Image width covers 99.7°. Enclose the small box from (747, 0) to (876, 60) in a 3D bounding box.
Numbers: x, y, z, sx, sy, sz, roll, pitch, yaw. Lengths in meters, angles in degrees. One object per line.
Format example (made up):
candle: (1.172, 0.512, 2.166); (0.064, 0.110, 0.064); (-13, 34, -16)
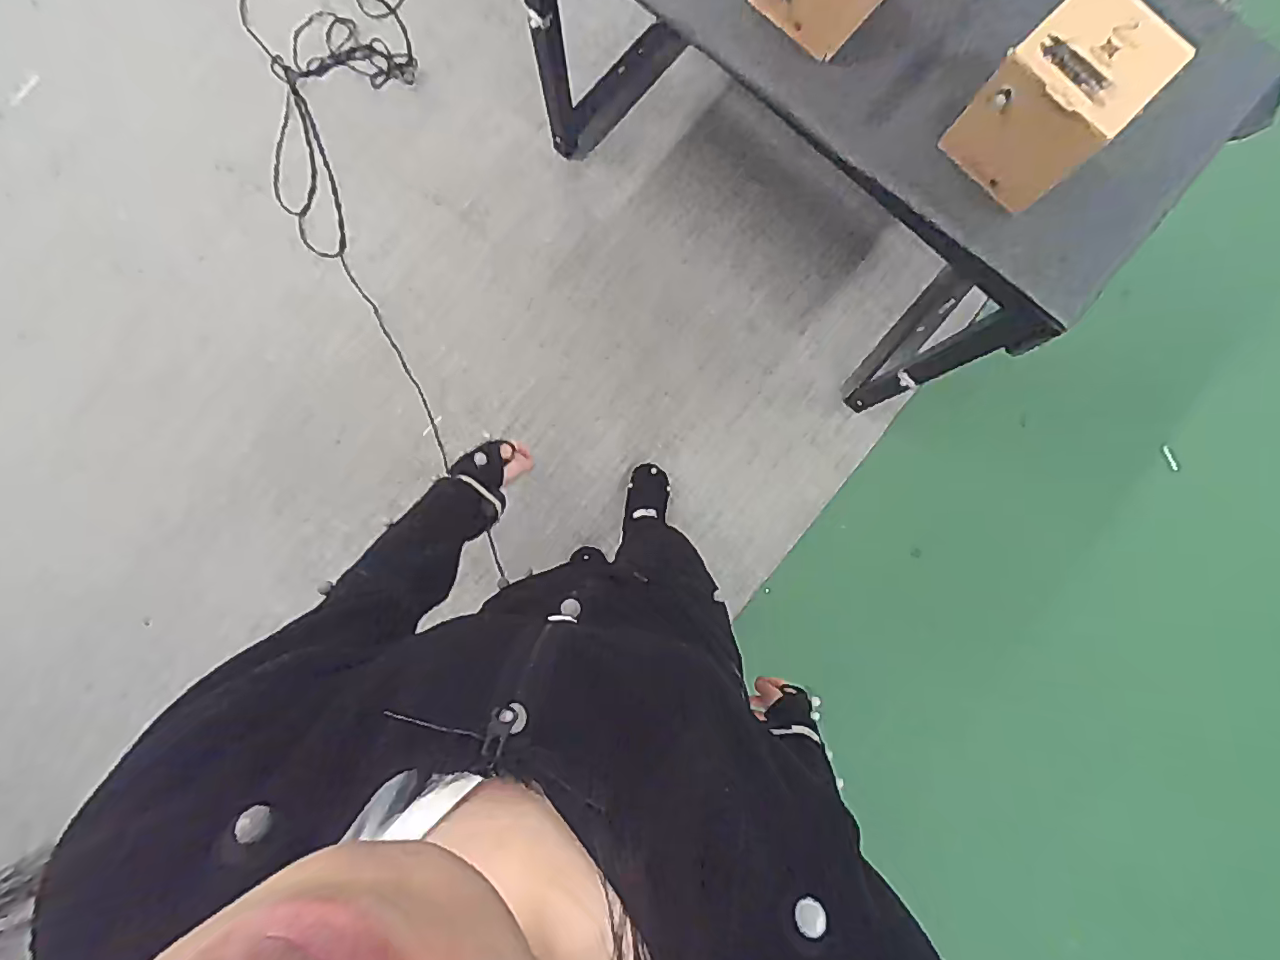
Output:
small box: (0.276, -0.767, 0.766); (0.168, 0.176, 0.179); (42, 85, 0)
